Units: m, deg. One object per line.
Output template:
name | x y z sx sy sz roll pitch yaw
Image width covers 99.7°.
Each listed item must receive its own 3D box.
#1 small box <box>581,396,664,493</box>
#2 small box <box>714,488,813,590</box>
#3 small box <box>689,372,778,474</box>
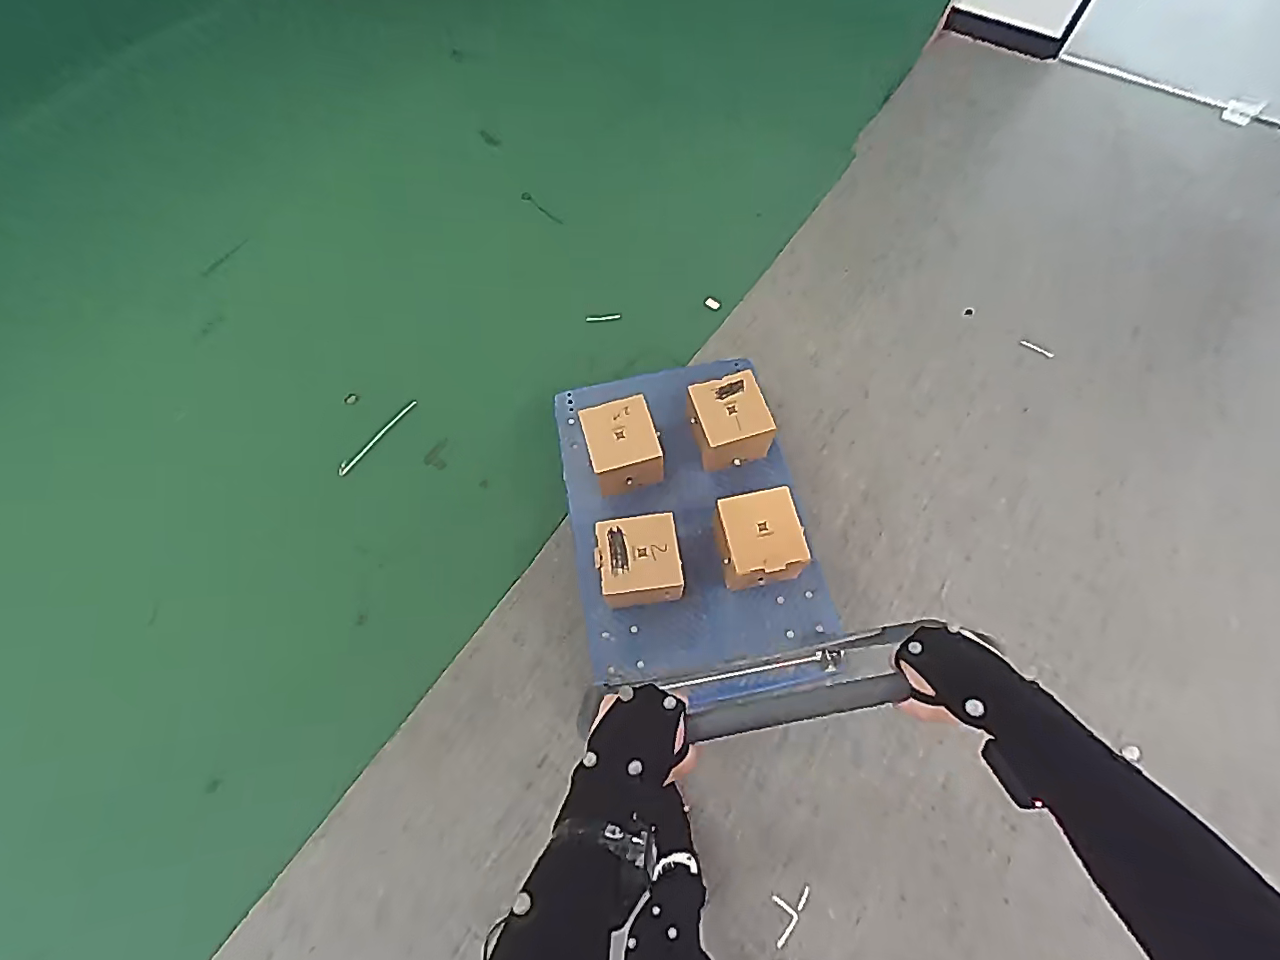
small box | -0.040 -0.079 1.347 0.168 0.176 0.179 -14 68 -5
small box | 0.274 0.141 1.246 0.168 0.176 0.179 -11 68 -2
small box | 0.227 -0.140 1.363 0.168 0.176 0.179 -16 68 -4
